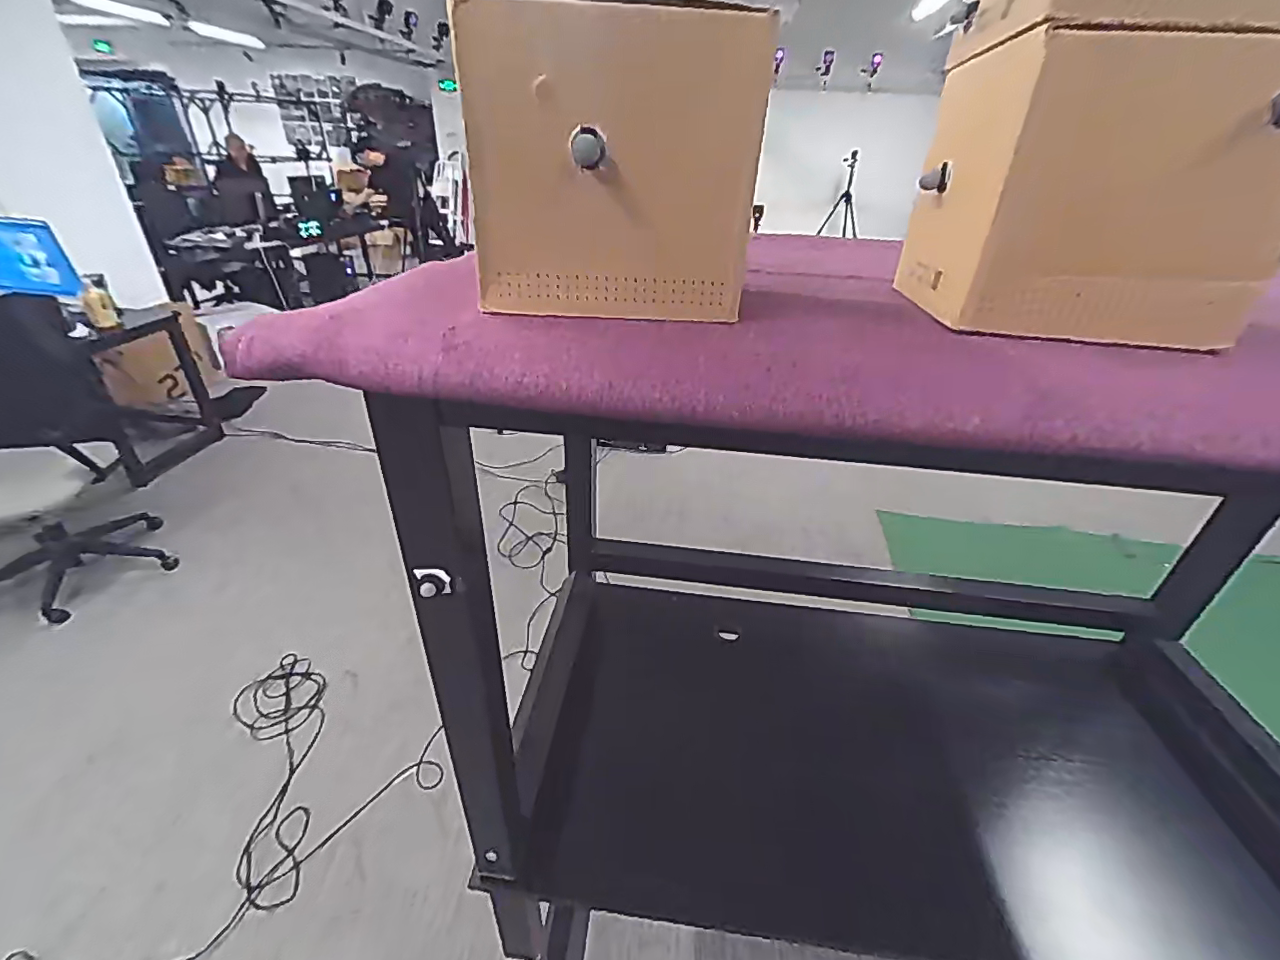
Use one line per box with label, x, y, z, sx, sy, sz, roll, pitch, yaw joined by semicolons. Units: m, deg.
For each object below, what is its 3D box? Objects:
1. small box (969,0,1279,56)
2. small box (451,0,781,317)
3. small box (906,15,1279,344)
small box;0.320;-0.346;0.308;0.179;0.176;0.168;8;31;5
small box;-0.015;-0.221;0.387;0.179;0.176;0.168;1;33;-3
small box;0.312;-0.202;0.387;0.179;0.176;0.168;7;31;6
